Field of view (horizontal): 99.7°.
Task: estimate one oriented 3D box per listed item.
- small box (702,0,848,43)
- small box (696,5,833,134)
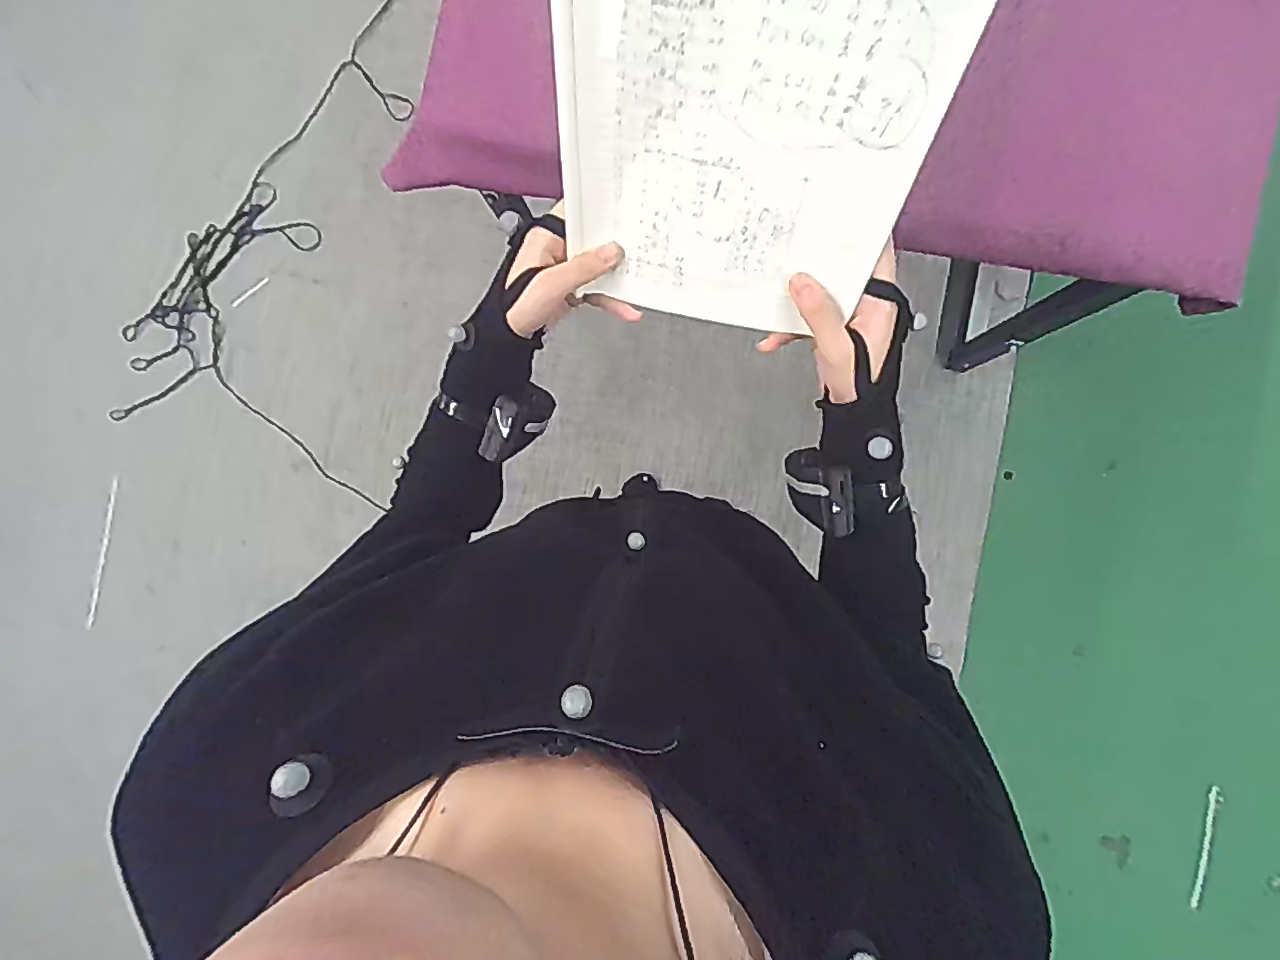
[{"bbox_3d":[0.160,-0.610,0.563,0.168,0.176,0.179,13,87,5],"label":"small box"},{"bbox_3d":[0.174,-0.609,0.728,0.168,0.176,0.179,12,89,4],"label":"small box"}]
